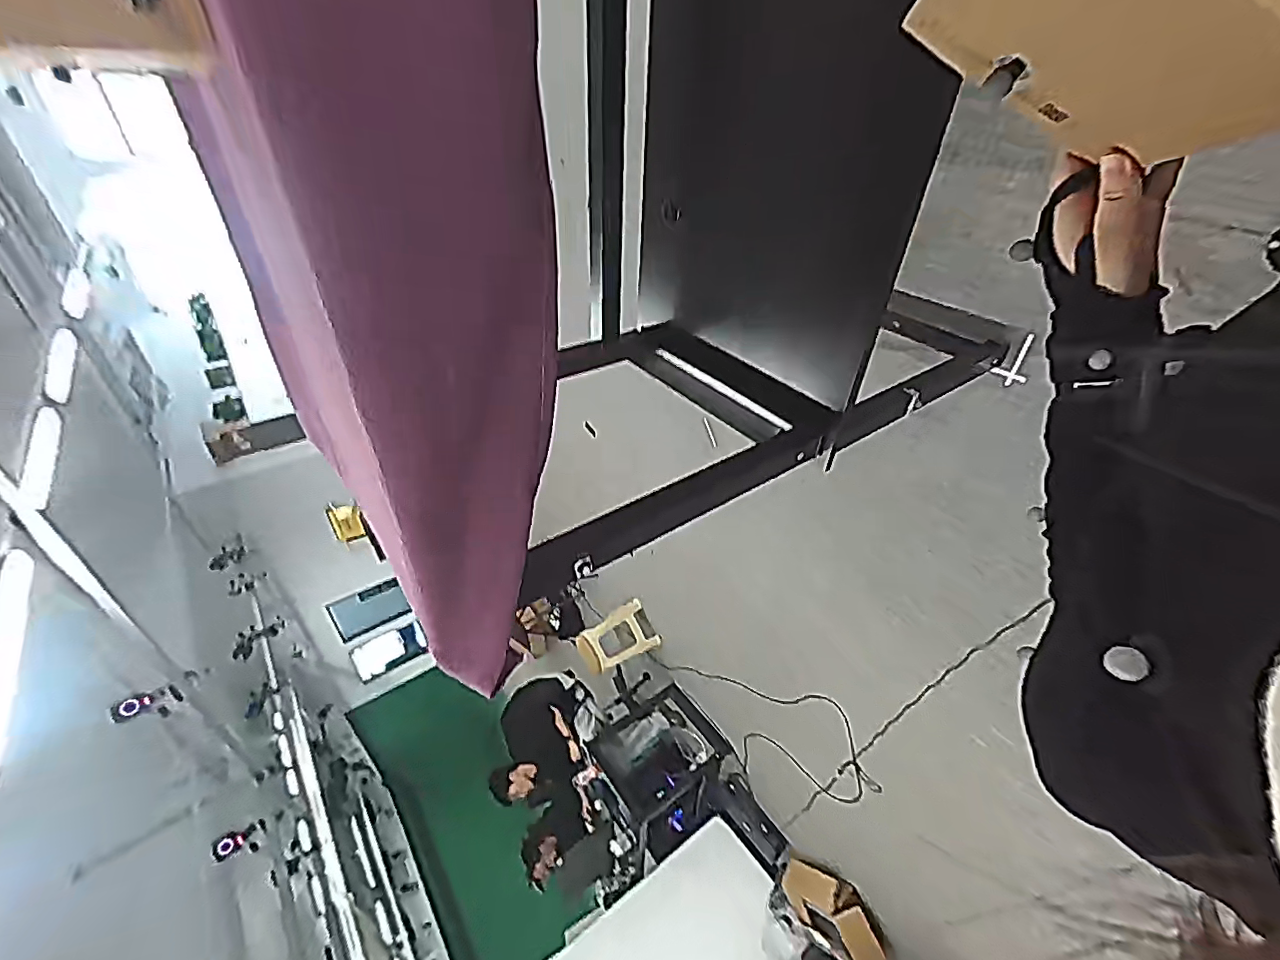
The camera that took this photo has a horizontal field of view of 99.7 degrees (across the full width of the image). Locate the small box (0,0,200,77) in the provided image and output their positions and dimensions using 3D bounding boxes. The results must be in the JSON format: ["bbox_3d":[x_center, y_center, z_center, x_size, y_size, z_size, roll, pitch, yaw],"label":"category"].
[{"bbox_3d":[-0.412,-0.359,0.339,0.179,0.176,0.168,38,140,42],"label":"small box"}]
